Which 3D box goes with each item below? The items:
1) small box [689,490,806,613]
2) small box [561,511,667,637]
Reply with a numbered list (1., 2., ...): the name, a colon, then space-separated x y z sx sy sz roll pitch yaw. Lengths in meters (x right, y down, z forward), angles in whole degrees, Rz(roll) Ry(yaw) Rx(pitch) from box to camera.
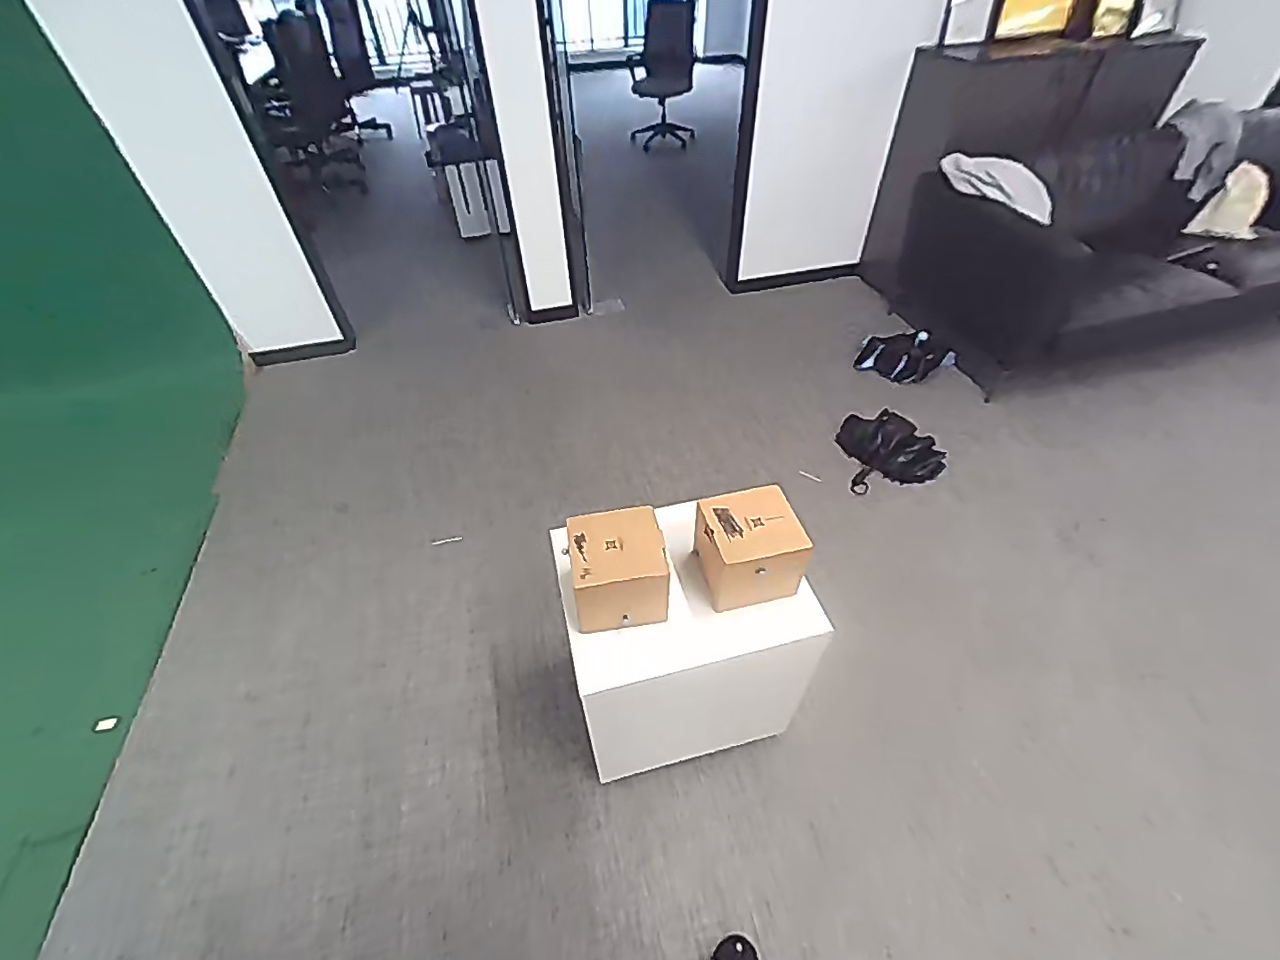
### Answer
1. small box: 0.202 0.146 1.088 0.179 0.176 0.168 -9 47 -12
2. small box: -0.057 0.182 1.043 0.179 0.176 0.168 -6 45 -10
